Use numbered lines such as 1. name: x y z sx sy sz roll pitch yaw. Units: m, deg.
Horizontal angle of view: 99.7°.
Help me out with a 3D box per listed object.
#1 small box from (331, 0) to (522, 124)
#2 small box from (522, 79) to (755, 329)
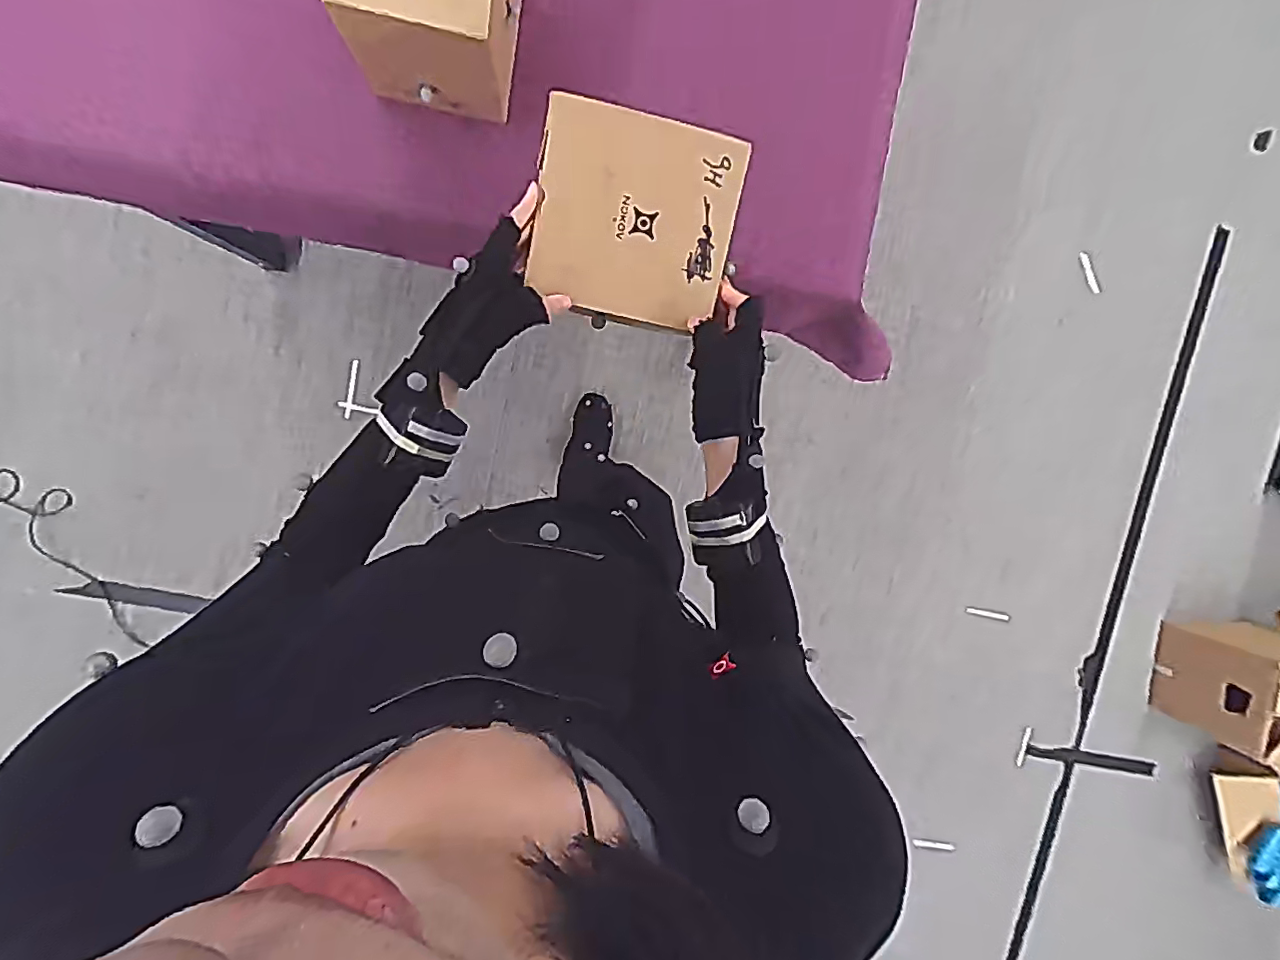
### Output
1. small box: -0.231 -0.556 0.616 0.168 0.176 0.179 8 95 -8
2. small box: -0.006 -0.255 0.547 0.179 0.176 0.168 12 102 -5
